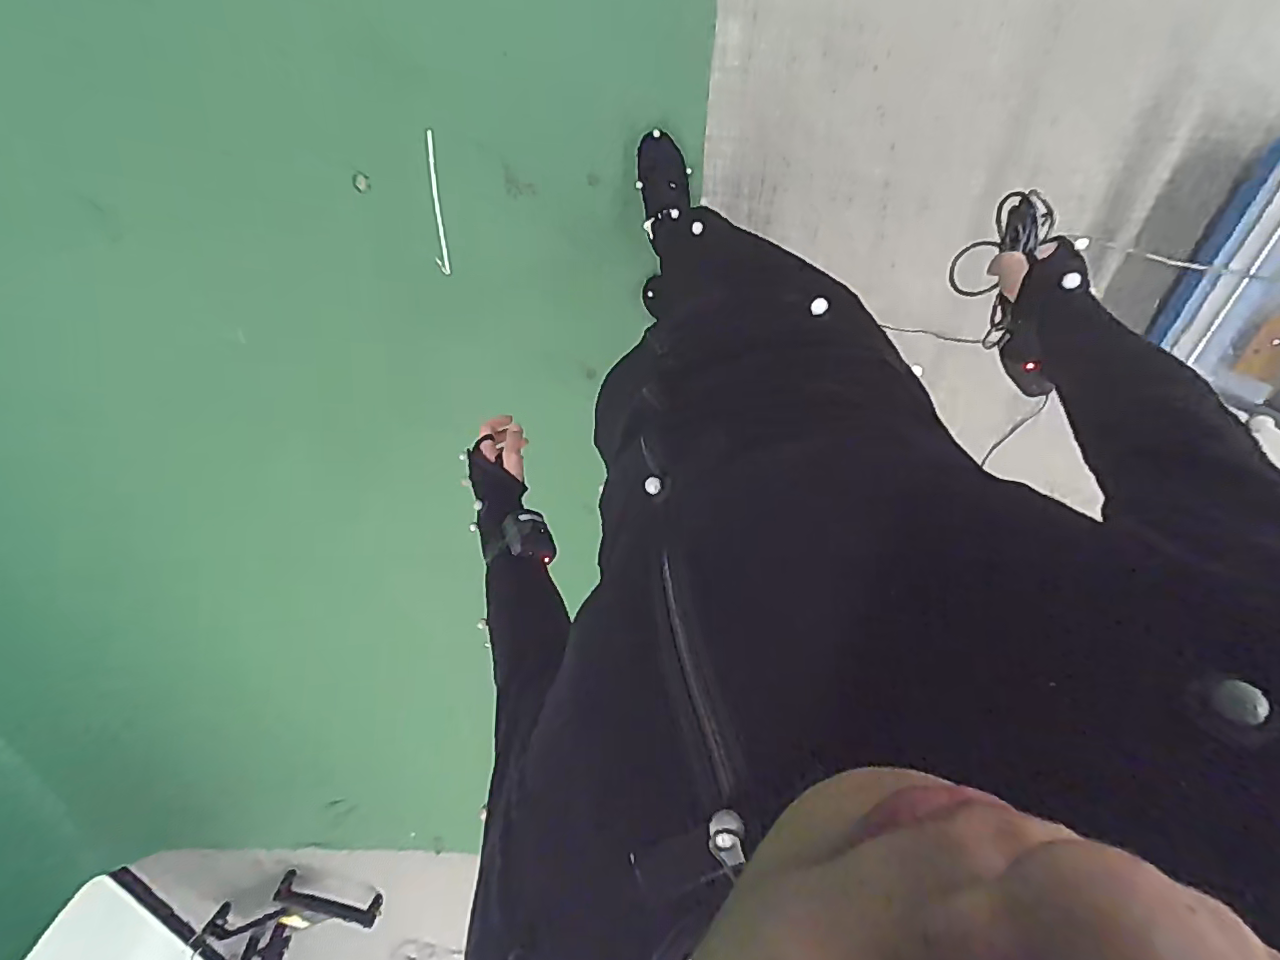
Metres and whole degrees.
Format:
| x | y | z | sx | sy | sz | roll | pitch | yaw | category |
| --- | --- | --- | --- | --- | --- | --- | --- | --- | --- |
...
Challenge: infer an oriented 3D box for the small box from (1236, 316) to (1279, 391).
| x | y | z | sx | sy | sz | roll | pitch | yaw | category |
| --- | --- | --- | --- | --- | --- | --- | --- | --- | --- |
| 1.632 | -0.293 | 1.295 | 0.179 | 0.176 | 0.168 | 8 | 122 | -3 | small box |
